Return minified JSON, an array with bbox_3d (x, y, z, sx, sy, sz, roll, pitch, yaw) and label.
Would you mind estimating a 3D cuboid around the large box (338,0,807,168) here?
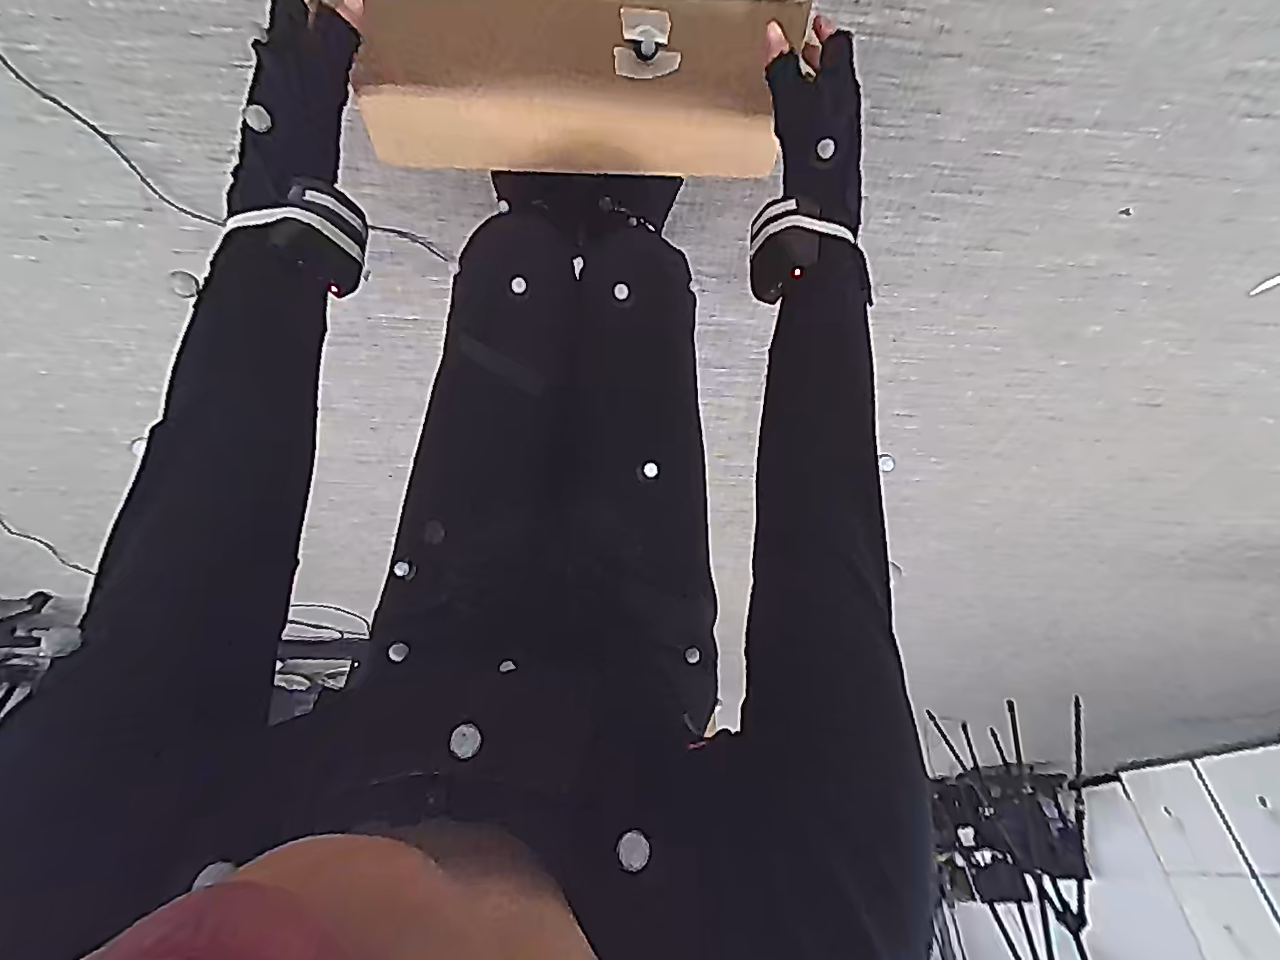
[{"bbox_3d":[-0.060,-0.537,0.528,0.408,0.320,0.320,-1,144,-2],"label":"large box"}]
